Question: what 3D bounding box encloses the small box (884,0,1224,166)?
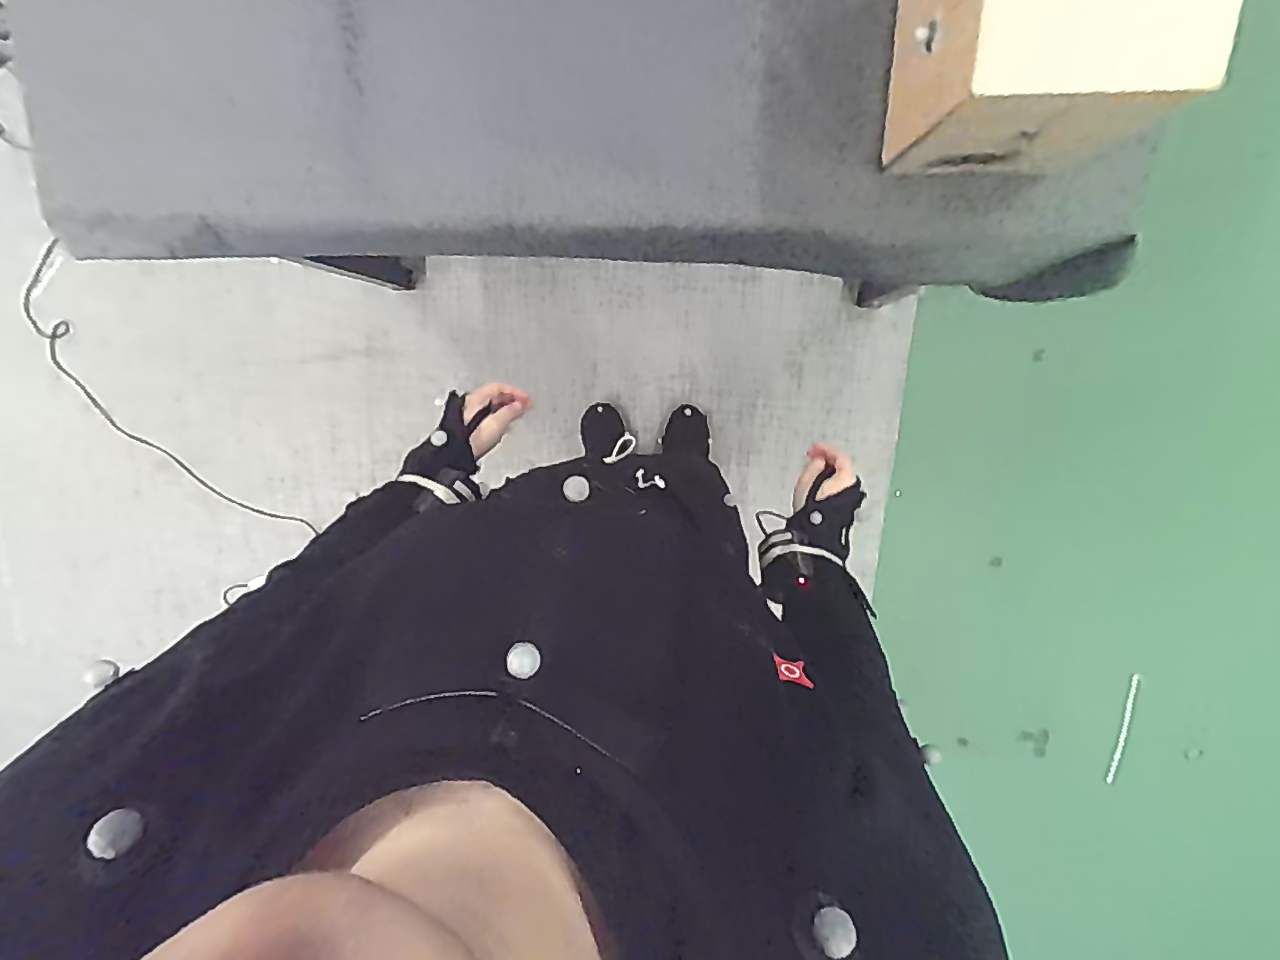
[{"bbox_3d":[0.319,-0.368,0.430,0.168,0.179,0.176,1,104,4],"label":"small box"}]
